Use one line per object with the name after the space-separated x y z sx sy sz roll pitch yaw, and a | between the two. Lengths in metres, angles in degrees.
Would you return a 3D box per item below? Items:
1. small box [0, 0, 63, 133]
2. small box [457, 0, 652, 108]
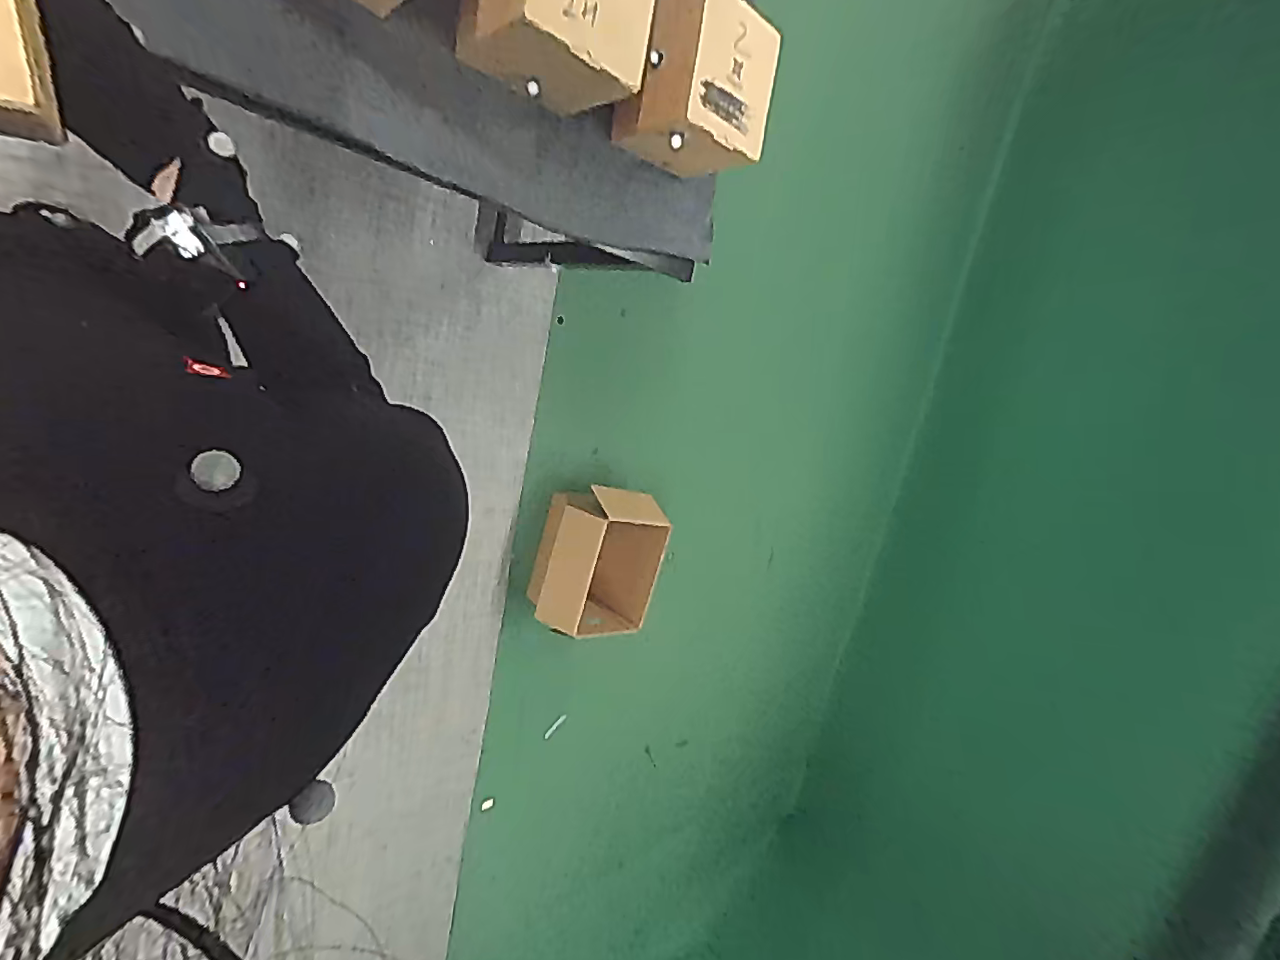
-0.389 -0.277 0.236 0.168 0.176 0.179 -11 118 -42 | small box
-0.101 -0.586 0.645 0.168 0.176 0.179 -1 108 -44 | small box
